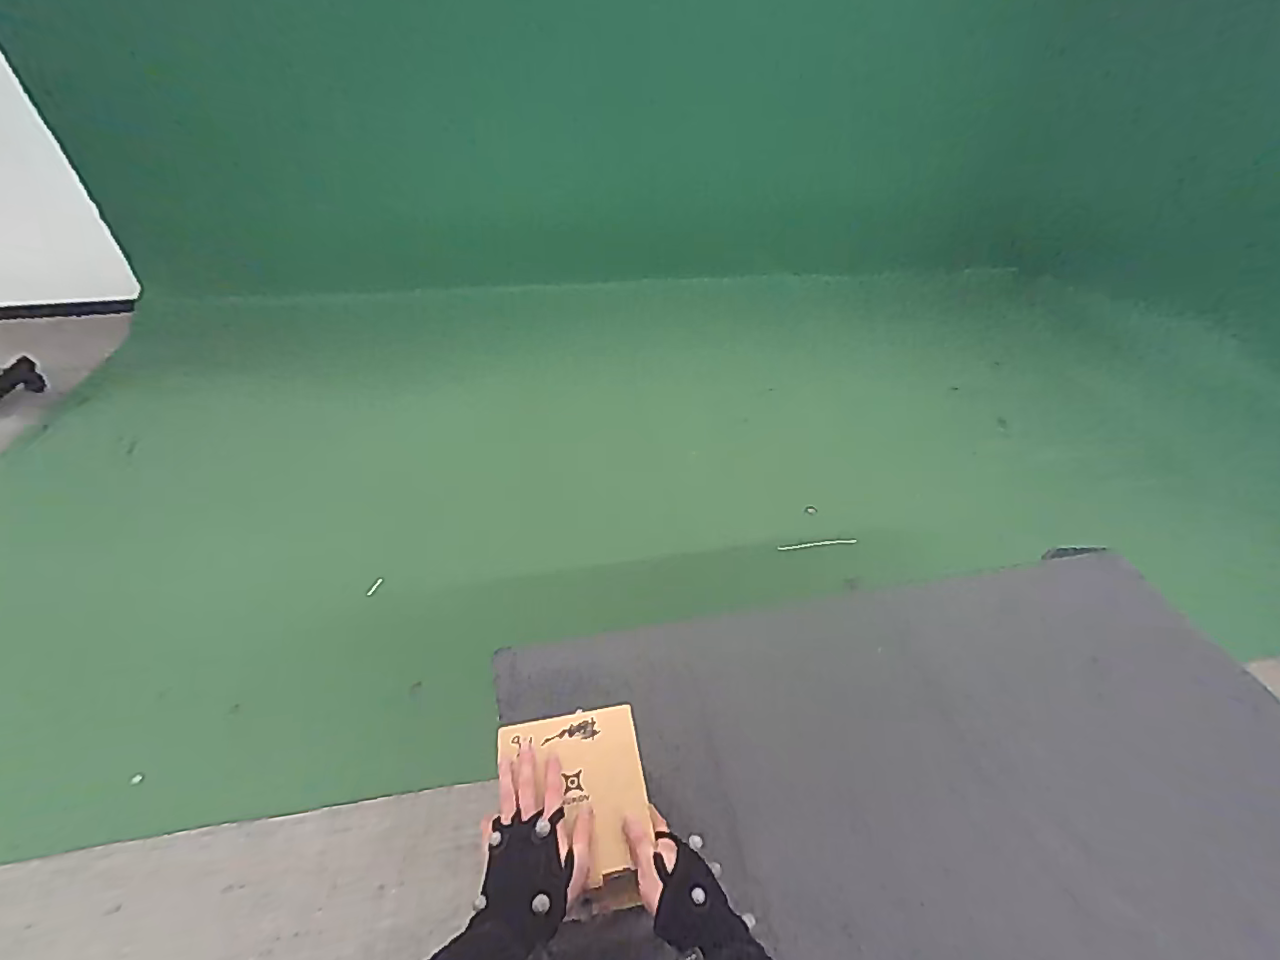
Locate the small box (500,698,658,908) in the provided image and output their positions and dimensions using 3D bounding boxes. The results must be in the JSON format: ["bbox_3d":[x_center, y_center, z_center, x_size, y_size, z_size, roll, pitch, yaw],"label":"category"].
[{"bbox_3d":[-0.077,0.397,0.662,0.168,0.176,0.179,-6,44,-10],"label":"small box"}]
